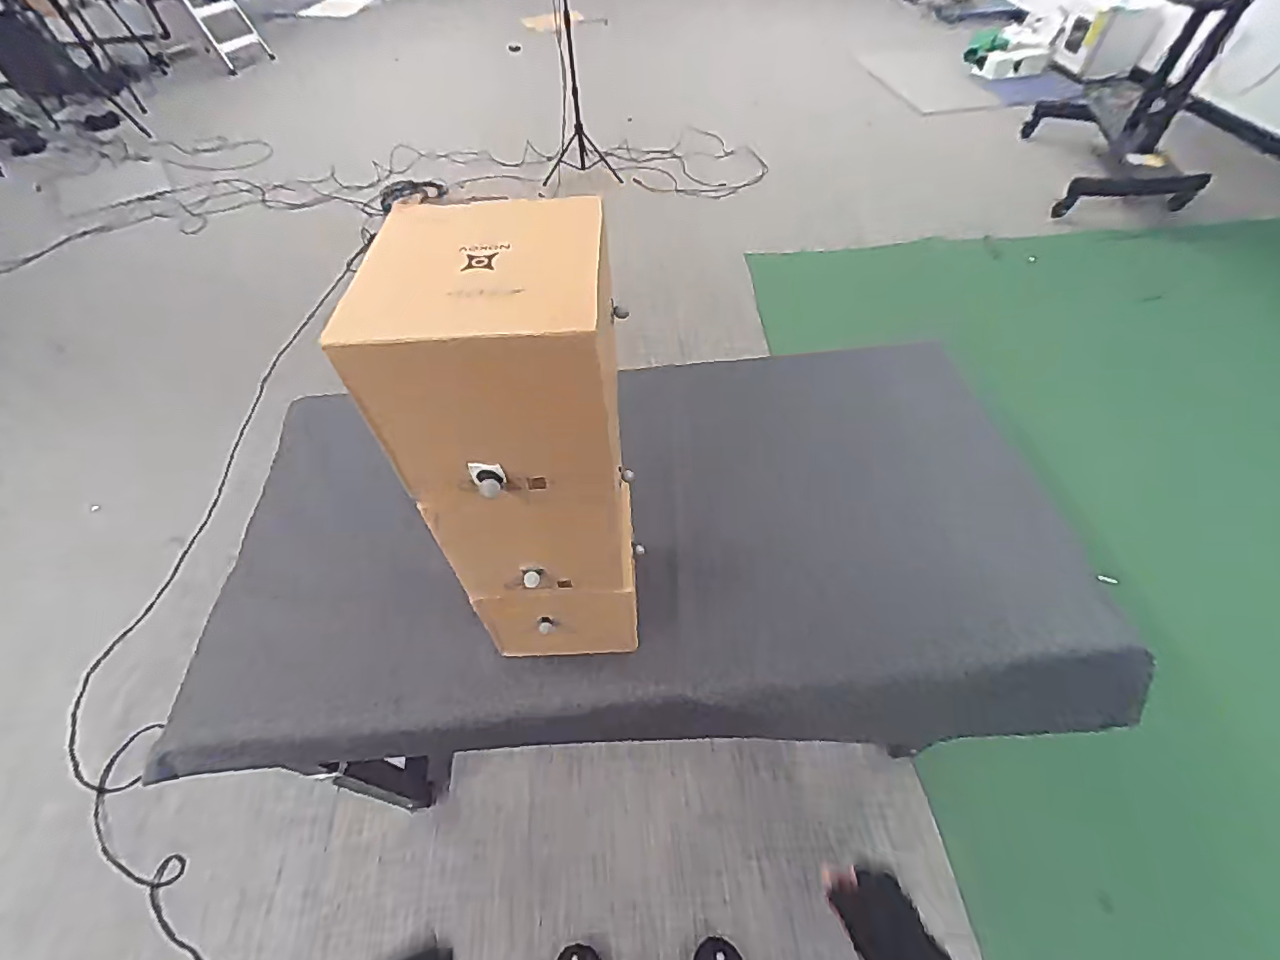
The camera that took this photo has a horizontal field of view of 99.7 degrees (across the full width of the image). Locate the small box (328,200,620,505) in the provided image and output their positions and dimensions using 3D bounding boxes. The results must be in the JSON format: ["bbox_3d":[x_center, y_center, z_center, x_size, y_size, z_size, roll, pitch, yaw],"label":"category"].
[{"bbox_3d":[-0.104,-0.098,0.433,0.168,0.176,0.179,-2,52,1],"label":"small box"}]

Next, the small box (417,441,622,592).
[{"bbox_3d":[-0.106,0.000,0.561,0.168,0.176,0.179,-2,52,0],"label":"small box"}]

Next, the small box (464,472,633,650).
[{"bbox_3d":[-0.101,0.107,0.686,0.179,0.176,0.168,-2,52,0],"label":"small box"}]
